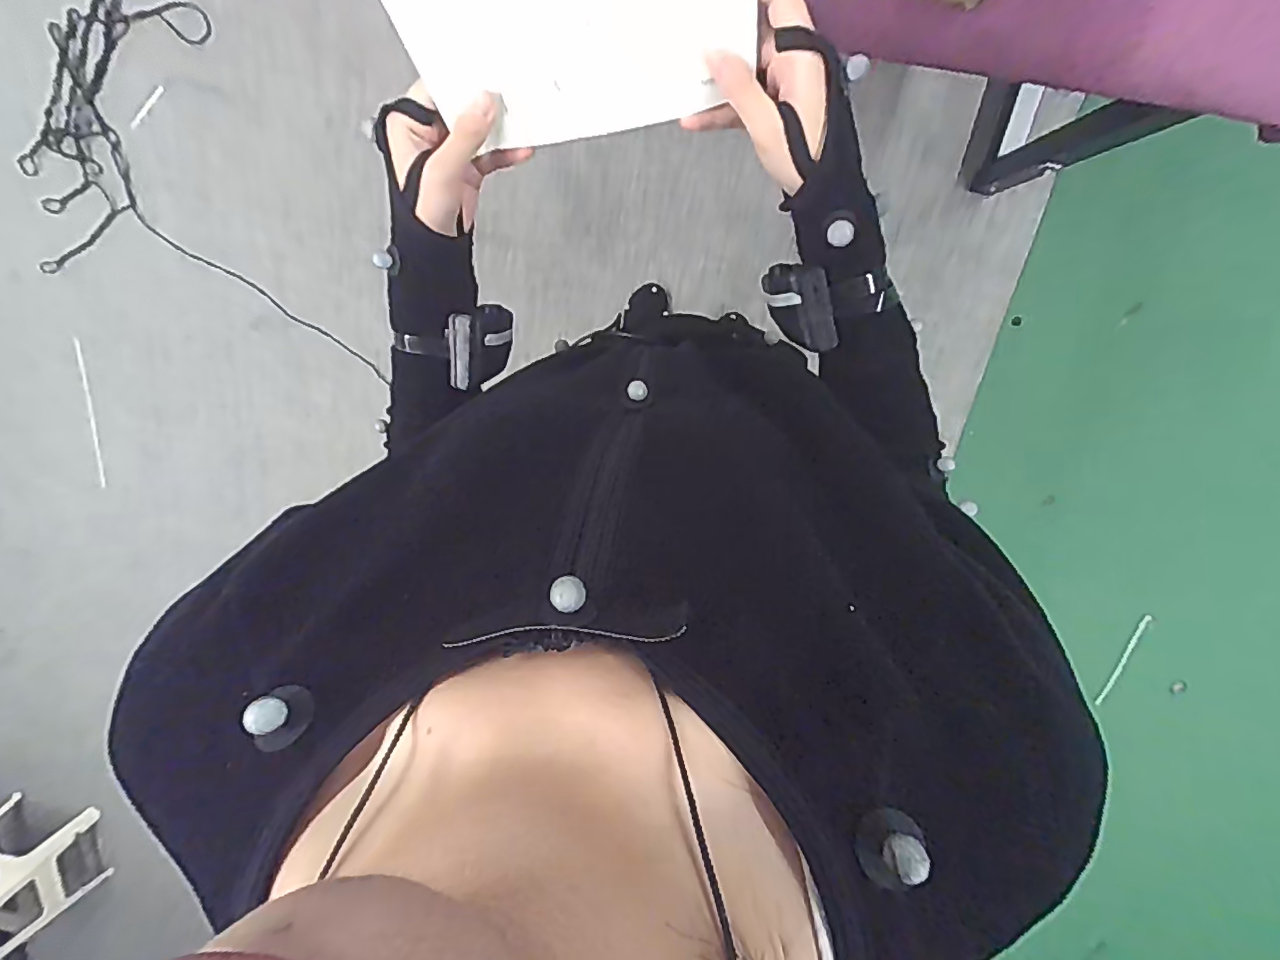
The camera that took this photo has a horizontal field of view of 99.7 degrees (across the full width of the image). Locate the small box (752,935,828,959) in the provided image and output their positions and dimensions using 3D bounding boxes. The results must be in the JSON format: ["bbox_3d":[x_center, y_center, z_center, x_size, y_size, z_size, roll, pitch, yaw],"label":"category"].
[{"bbox_3d":[0.369,1.249,1.305,0.179,0.176,0.168,4,107,5],"label":"small box"}]

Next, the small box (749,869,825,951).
[{"bbox_3d":[0.389,1.195,1.457,0.168,0.176,0.179,3,107,6],"label":"small box"}]

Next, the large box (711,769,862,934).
[{"bbox_3d":[0.439,1.151,1.697,0.408,0.320,0.320,-3,108,5],"label":"large box"}]
